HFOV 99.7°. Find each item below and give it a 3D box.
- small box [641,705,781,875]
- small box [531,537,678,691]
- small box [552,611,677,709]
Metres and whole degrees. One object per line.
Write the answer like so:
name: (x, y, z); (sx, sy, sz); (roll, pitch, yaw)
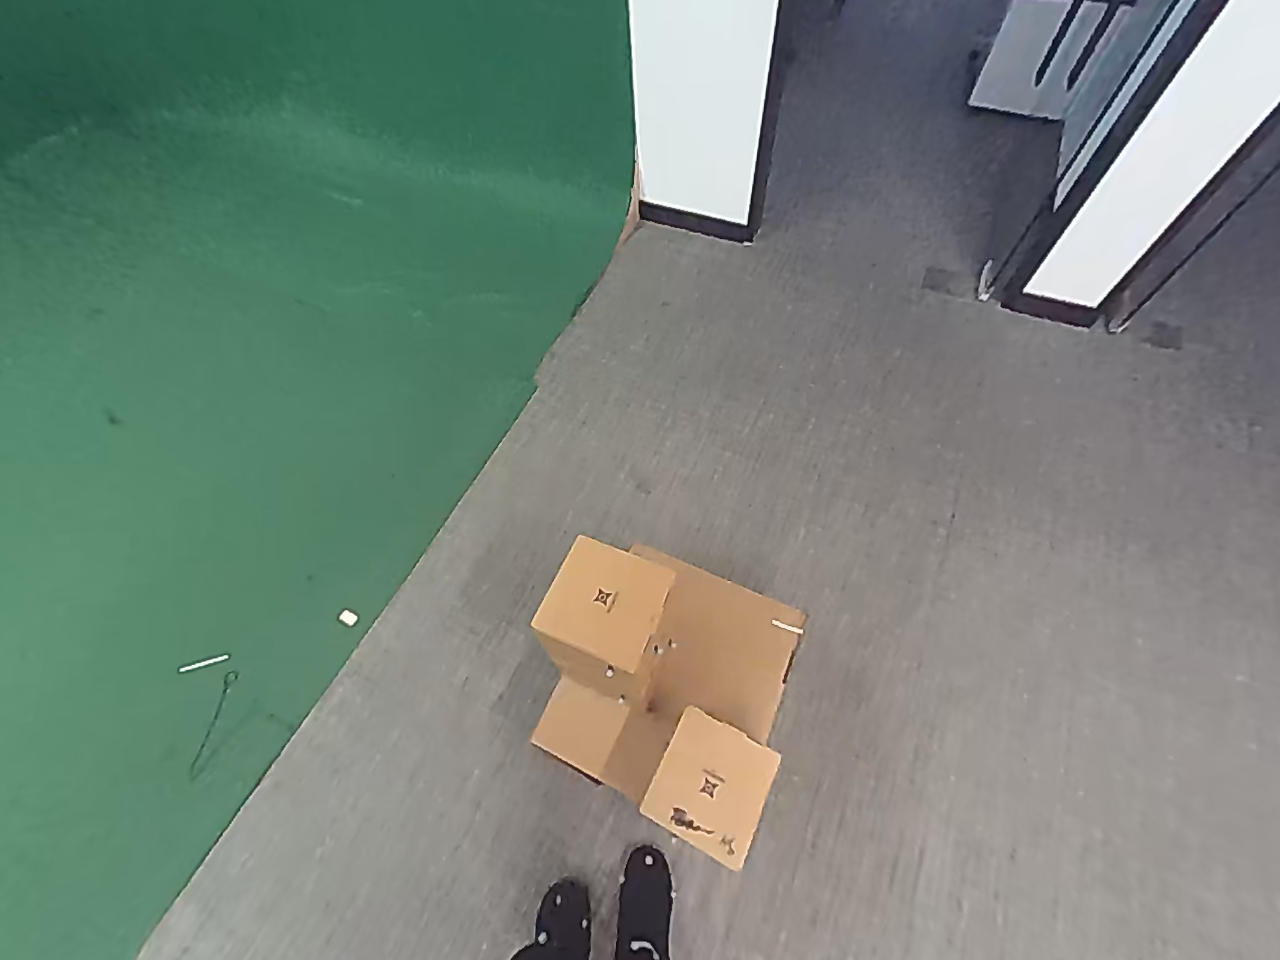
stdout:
small box: (0.111, 0.507, 0.896); (0.168, 0.176, 0.179); (25, 63, 16)
small box: (-0.050, 0.225, 0.885); (0.179, 0.176, 0.168); (20, 61, 13)
small box: (-0.039, 0.315, 1.021); (0.179, 0.176, 0.168); (19, 60, 14)
